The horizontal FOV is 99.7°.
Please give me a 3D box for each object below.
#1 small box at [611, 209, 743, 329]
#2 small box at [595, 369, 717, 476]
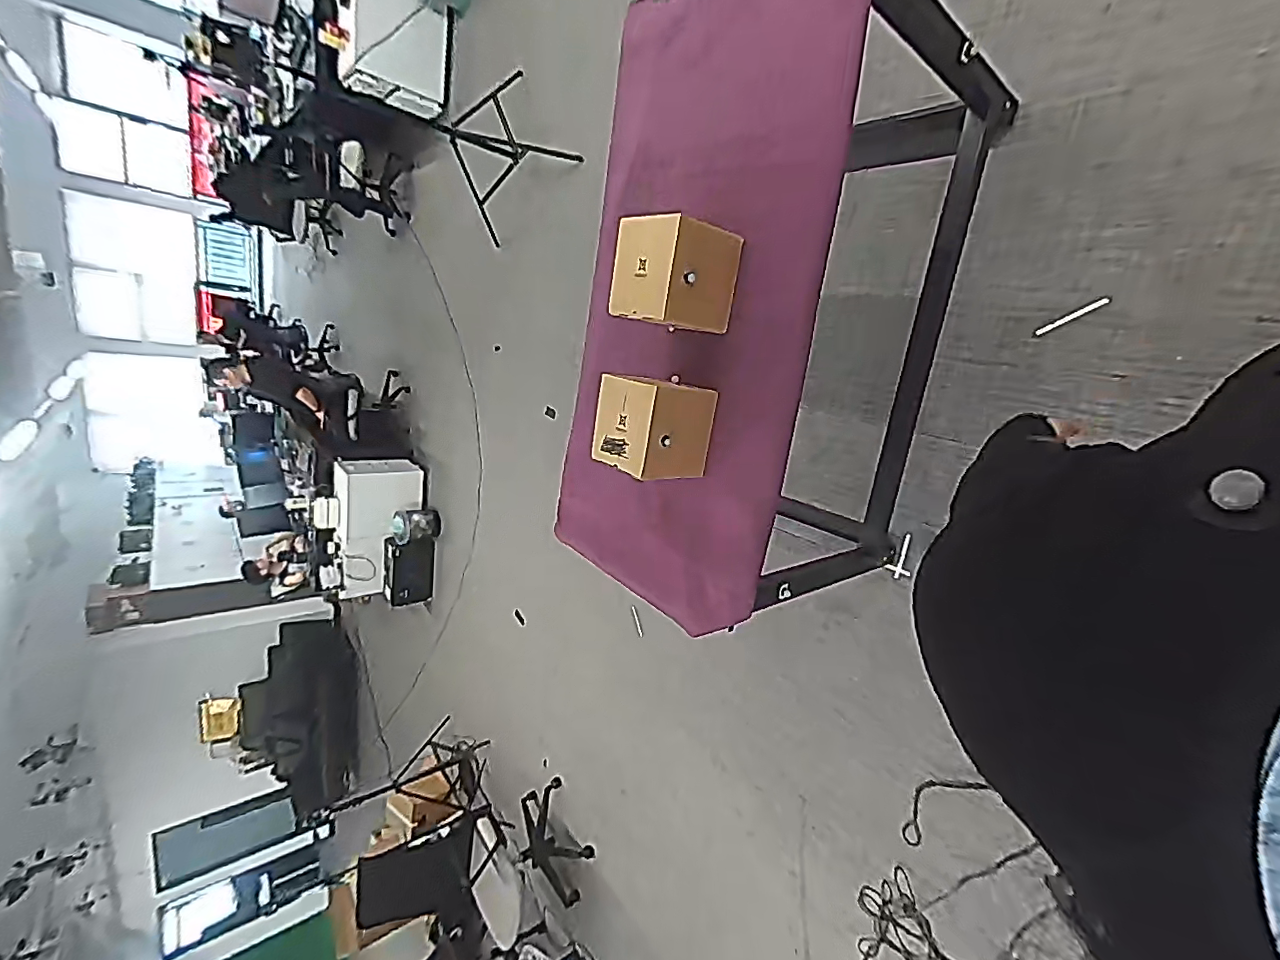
[{"bbox_3d":[0.070,-0.391,1.016,0.168,0.176,0.179,26,113,46],"label":"small box"},{"bbox_3d":[0.032,-0.116,1.082,0.168,0.176,0.179,25,111,46],"label":"small box"}]
